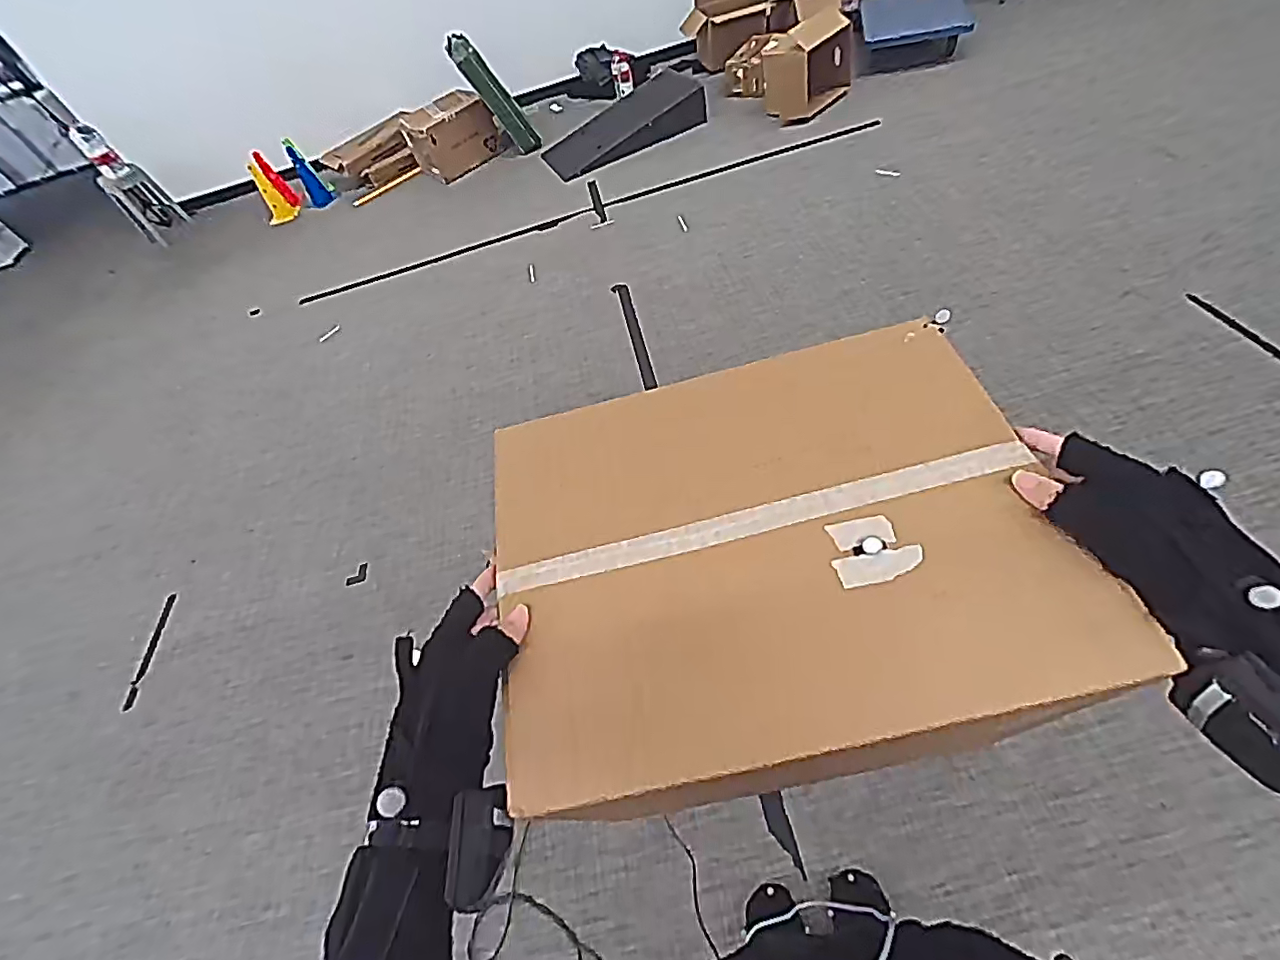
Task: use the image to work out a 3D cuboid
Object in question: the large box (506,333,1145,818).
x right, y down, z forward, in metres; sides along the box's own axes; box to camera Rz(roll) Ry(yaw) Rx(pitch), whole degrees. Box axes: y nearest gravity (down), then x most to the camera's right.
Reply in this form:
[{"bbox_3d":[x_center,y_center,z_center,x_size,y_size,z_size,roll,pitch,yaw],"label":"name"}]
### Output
[{"bbox_3d":[0.117,0.116,0.542,0.408,0.320,0.320,-14,57,3],"label":"large box"}]
